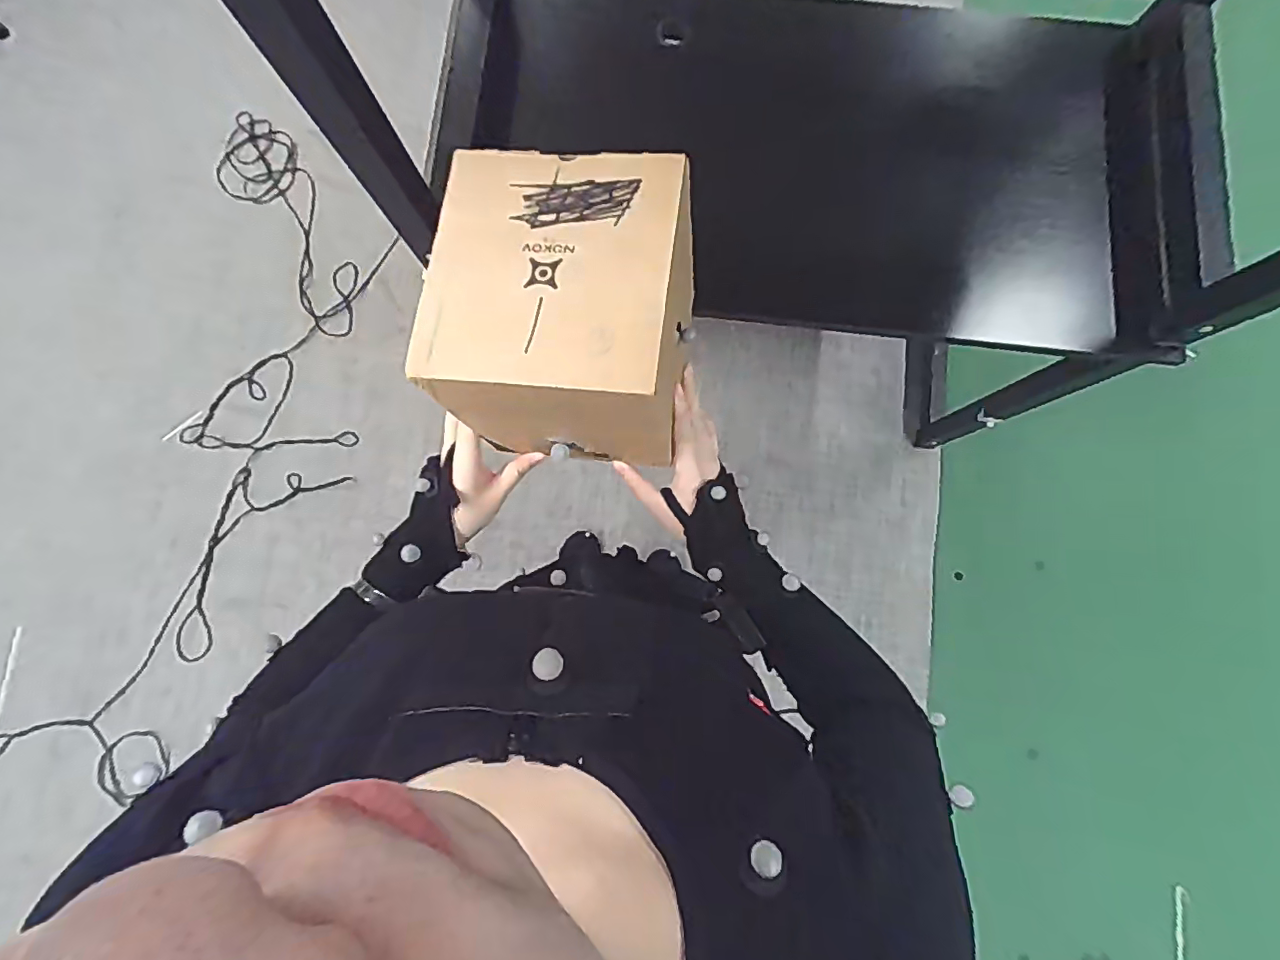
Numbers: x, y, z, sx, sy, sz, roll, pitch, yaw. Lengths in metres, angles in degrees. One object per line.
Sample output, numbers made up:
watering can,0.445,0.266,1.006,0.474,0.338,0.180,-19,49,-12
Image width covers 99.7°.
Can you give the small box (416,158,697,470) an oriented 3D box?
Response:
small box,-0.046,-0.119,0.434,0.168,0.176,0.179,6,78,8
